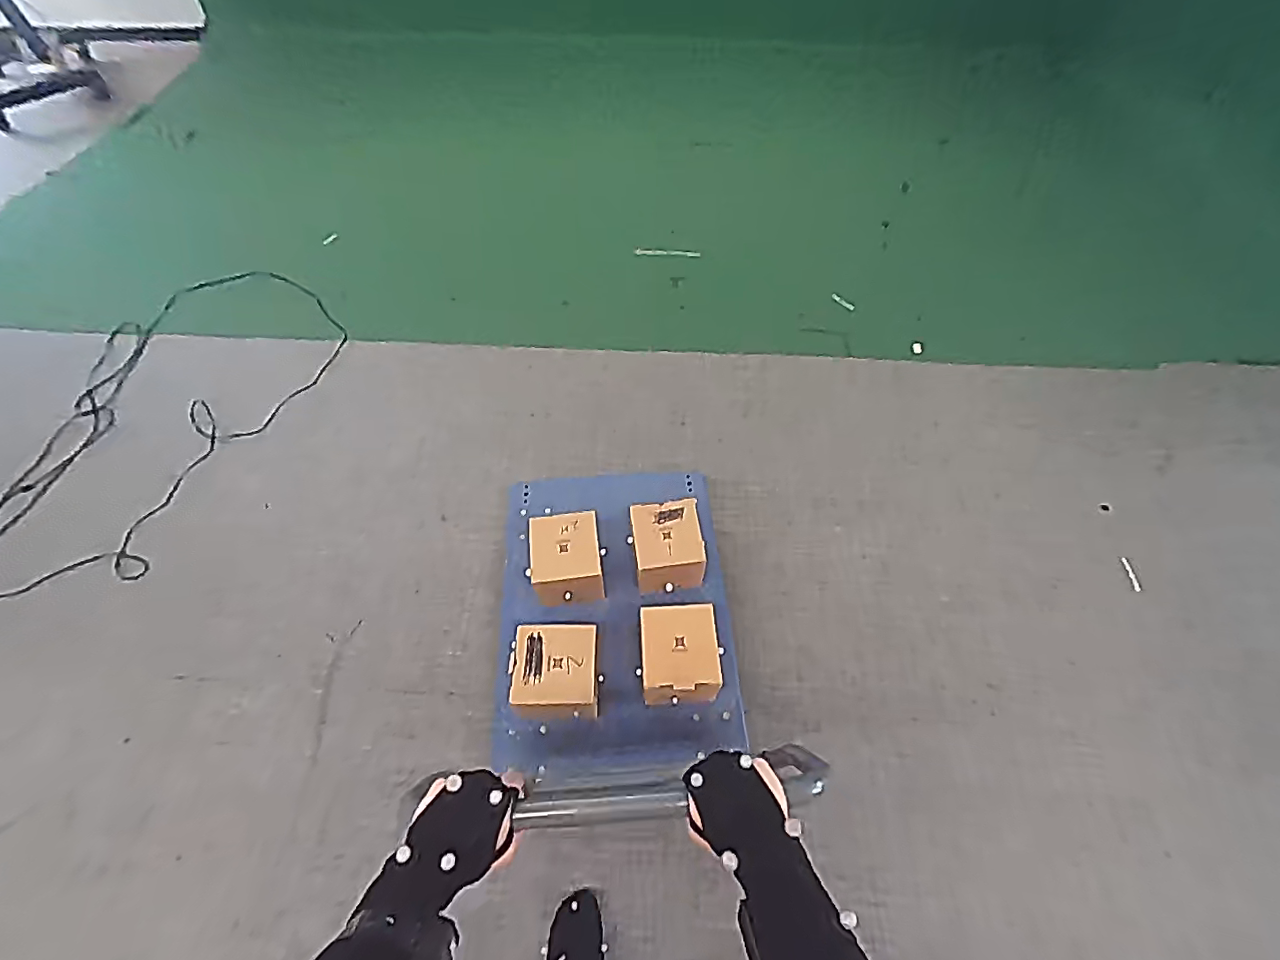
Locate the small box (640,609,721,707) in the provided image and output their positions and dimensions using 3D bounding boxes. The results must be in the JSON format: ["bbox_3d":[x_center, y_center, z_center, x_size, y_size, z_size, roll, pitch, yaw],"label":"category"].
[{"bbox_3d":[0.087,0.414,1.254,0.168,0.176,0.179,-3,57,-2],"label":"small box"}]

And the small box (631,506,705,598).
[{"bbox_3d":[0.066,0.189,1.402,0.168,0.176,0.179,-7,58,-3],"label":"small box"}]

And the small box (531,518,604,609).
[{"bbox_3d":[-0.183,0.219,1.383,0.168,0.176,0.179,-6,56,-5],"label":"small box"}]
